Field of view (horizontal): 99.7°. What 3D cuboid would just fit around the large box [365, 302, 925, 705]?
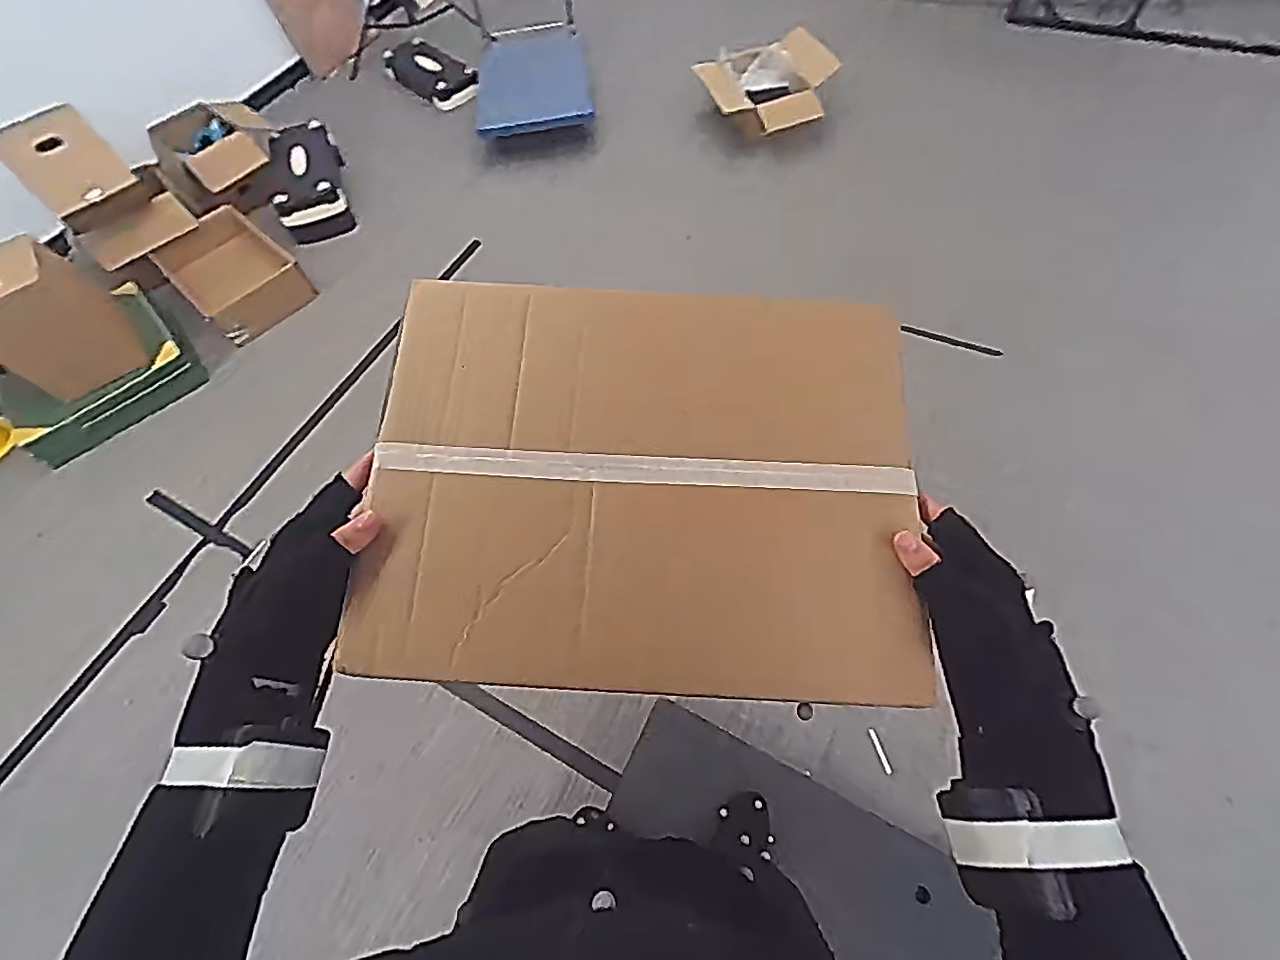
[{"bbox_3d":[0.010,0.042,0.563,0.408,0.320,0.320,3,73,1],"label":"large box"}]

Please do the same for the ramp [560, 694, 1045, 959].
[{"bbox_3d":[0.374,0.938,1.191,0.991,0.206,0.509,21,65,15],"label":"ramp"}]
